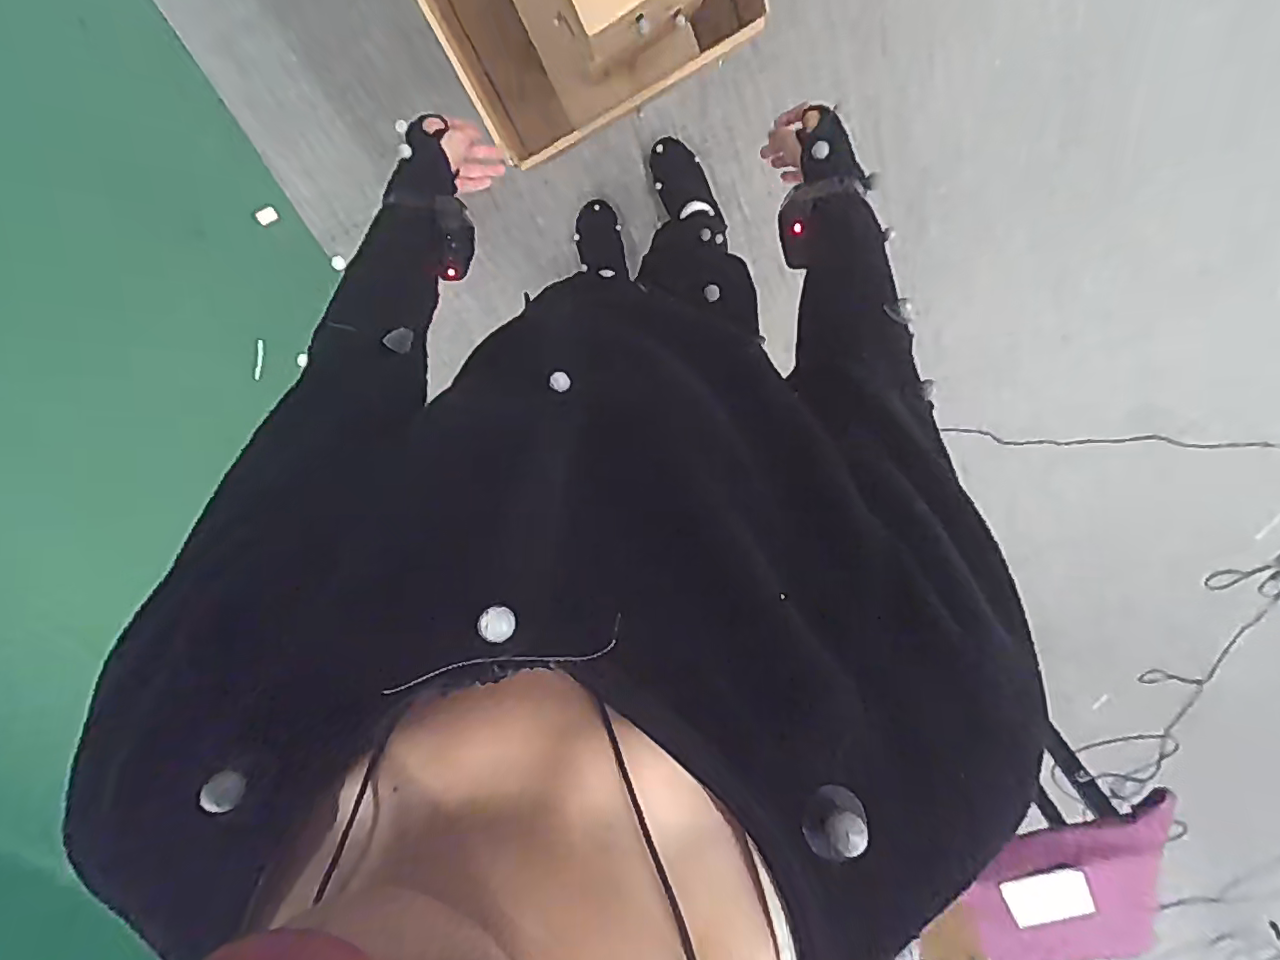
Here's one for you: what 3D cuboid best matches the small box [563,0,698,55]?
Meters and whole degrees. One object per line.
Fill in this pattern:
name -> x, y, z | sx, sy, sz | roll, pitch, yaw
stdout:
small box -> -0.021, -0.580, 0.560 | 0.168, 0.176, 0.179 | -24, 118, 12
